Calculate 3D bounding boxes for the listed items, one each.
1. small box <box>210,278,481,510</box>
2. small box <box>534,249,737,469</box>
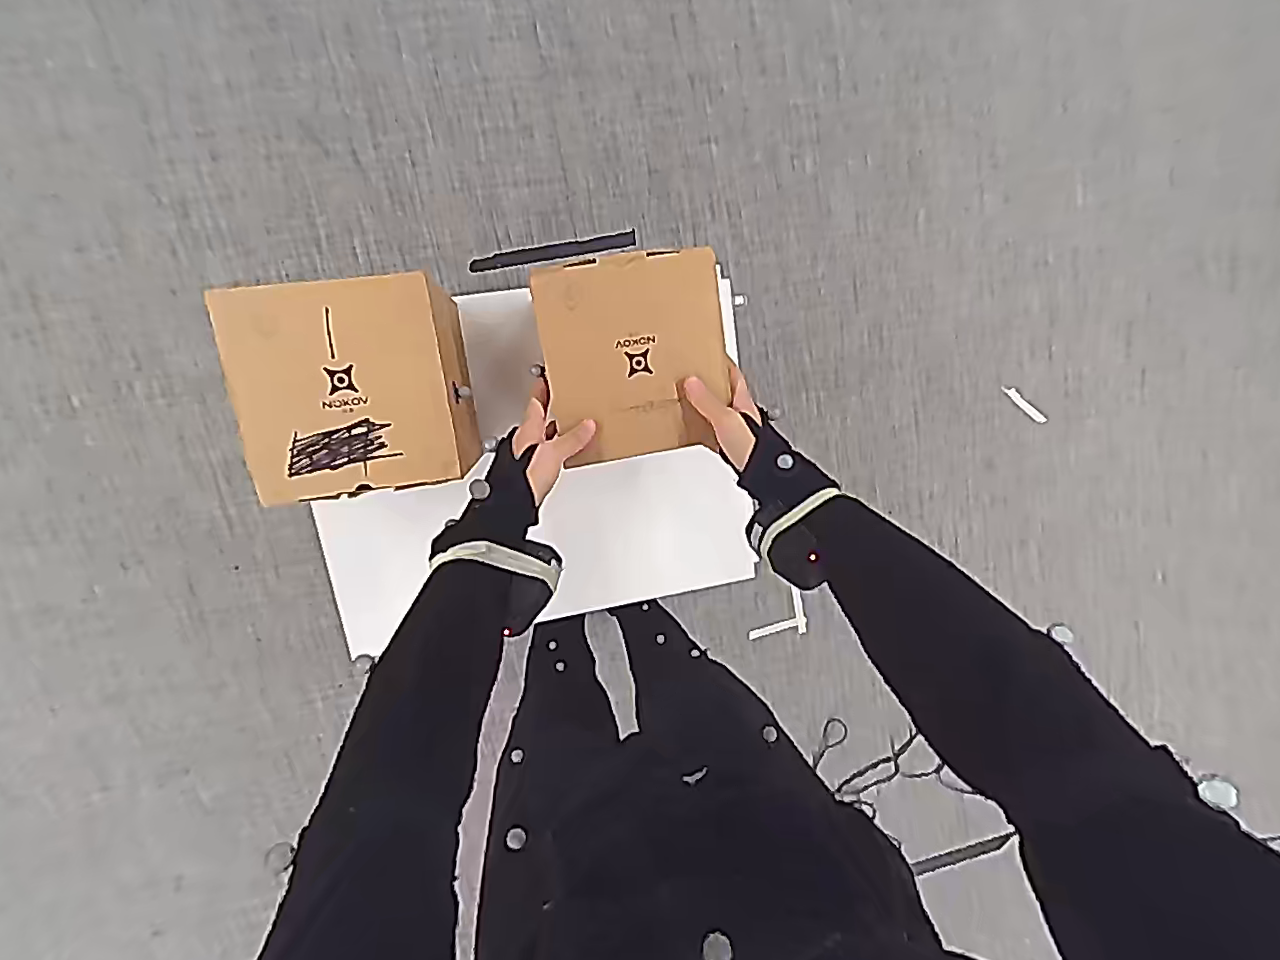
[{"bbox_3d":[-0.256,-0.083,0.521,0.168,0.176,0.179,-9,100,-9],"label":"small box"},{"bbox_3d":[-0.013,-0.120,0.560,0.168,0.176,0.179,-11,102,-7],"label":"small box"}]
